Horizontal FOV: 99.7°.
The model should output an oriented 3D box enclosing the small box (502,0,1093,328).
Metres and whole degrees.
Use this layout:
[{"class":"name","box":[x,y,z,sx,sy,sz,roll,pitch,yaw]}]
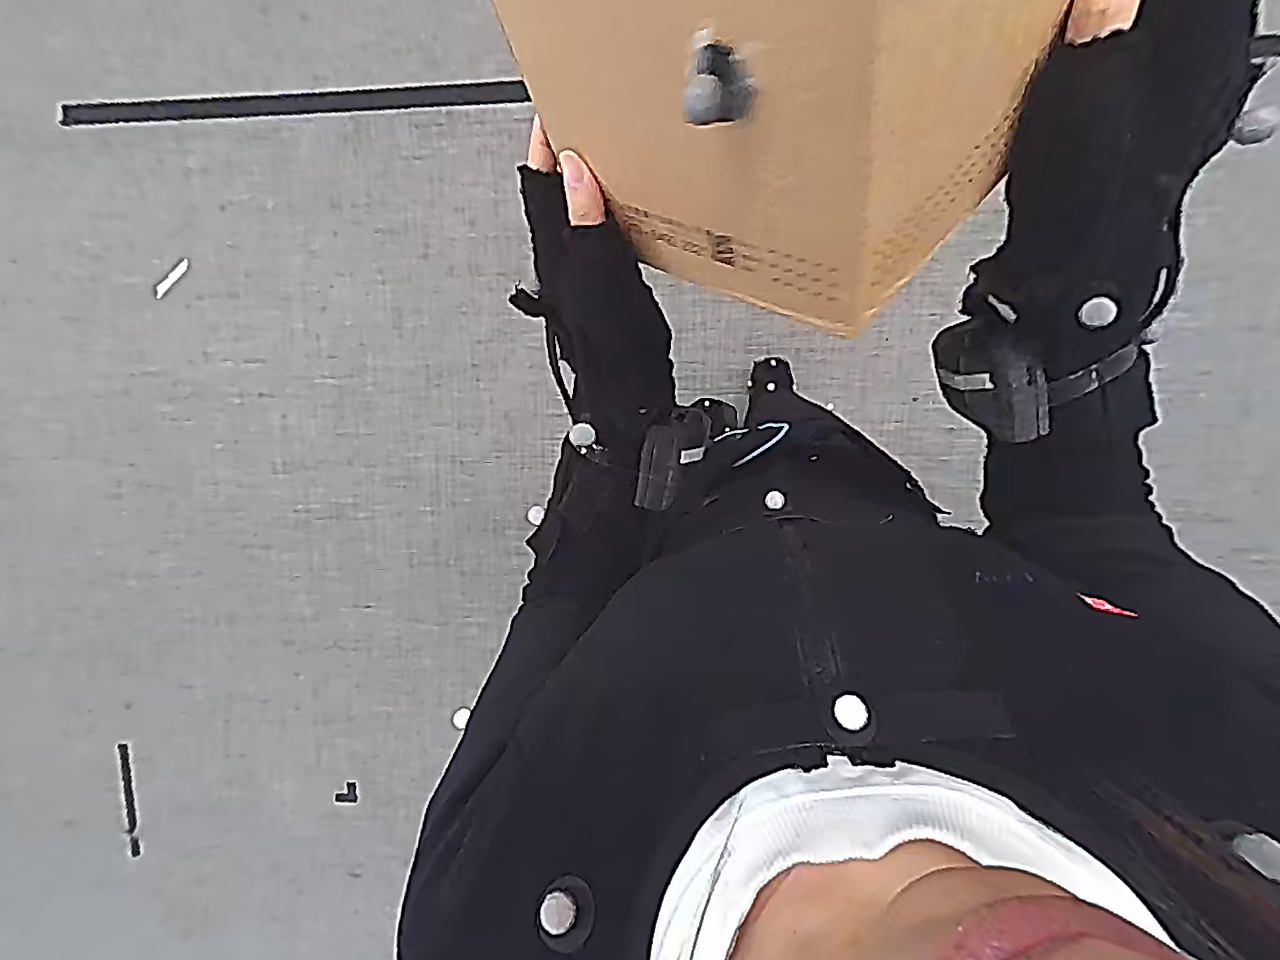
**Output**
[{"class":"small box","box":[0.062,-0.193,0.215,0.179,0.176,0.168,-43,54,-11]}]
